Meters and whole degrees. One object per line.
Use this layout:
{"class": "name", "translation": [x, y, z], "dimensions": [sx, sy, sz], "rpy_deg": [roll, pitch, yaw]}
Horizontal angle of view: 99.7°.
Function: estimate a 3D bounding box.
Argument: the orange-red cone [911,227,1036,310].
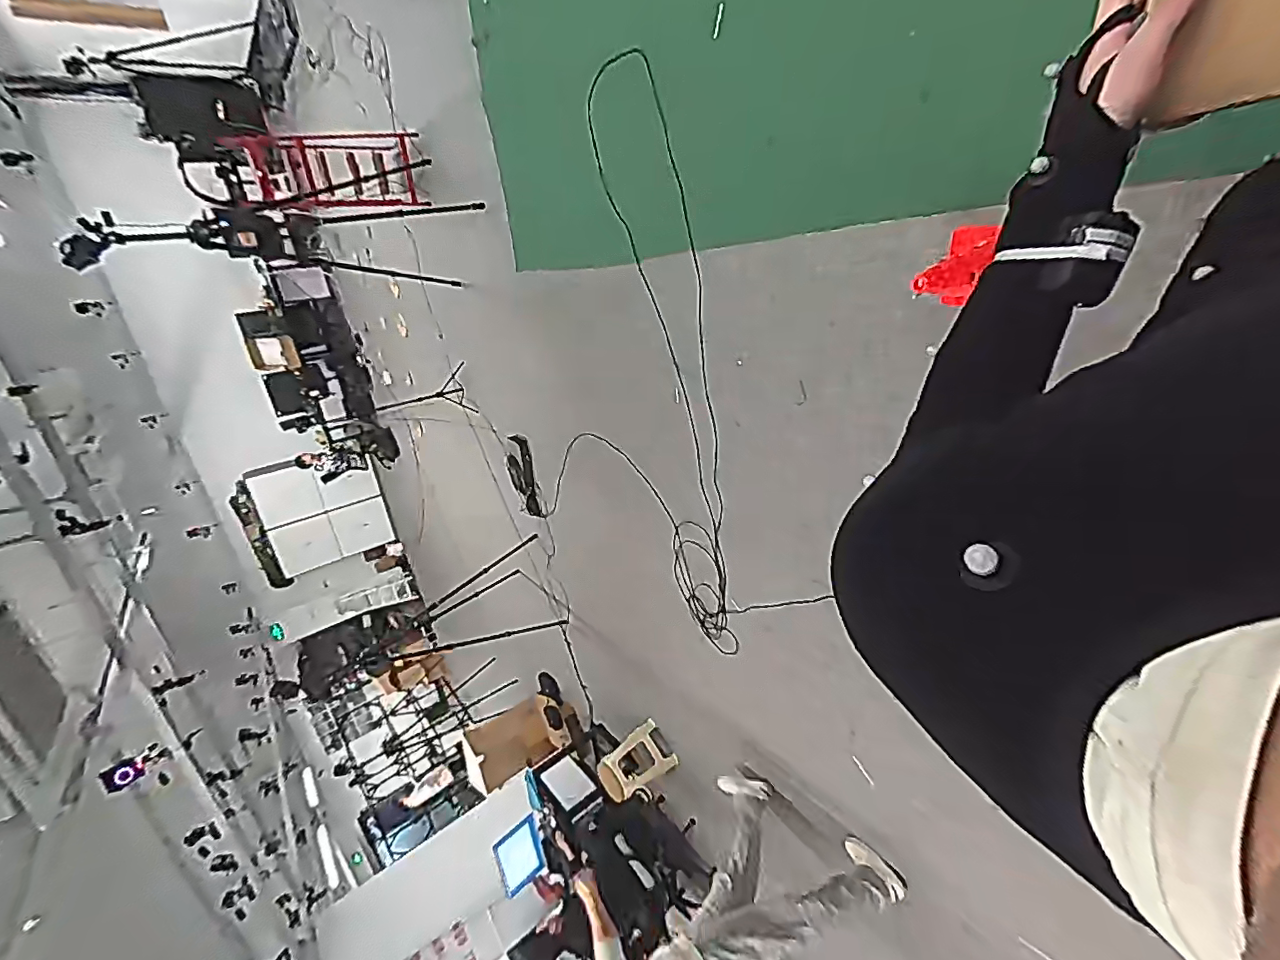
{"class": "orange-red cone", "translation": [0.770, -0.502, 1.324], "dimensions": [0.199, 0.360, 0.198], "rpy_deg": [29, 130, 46]}
